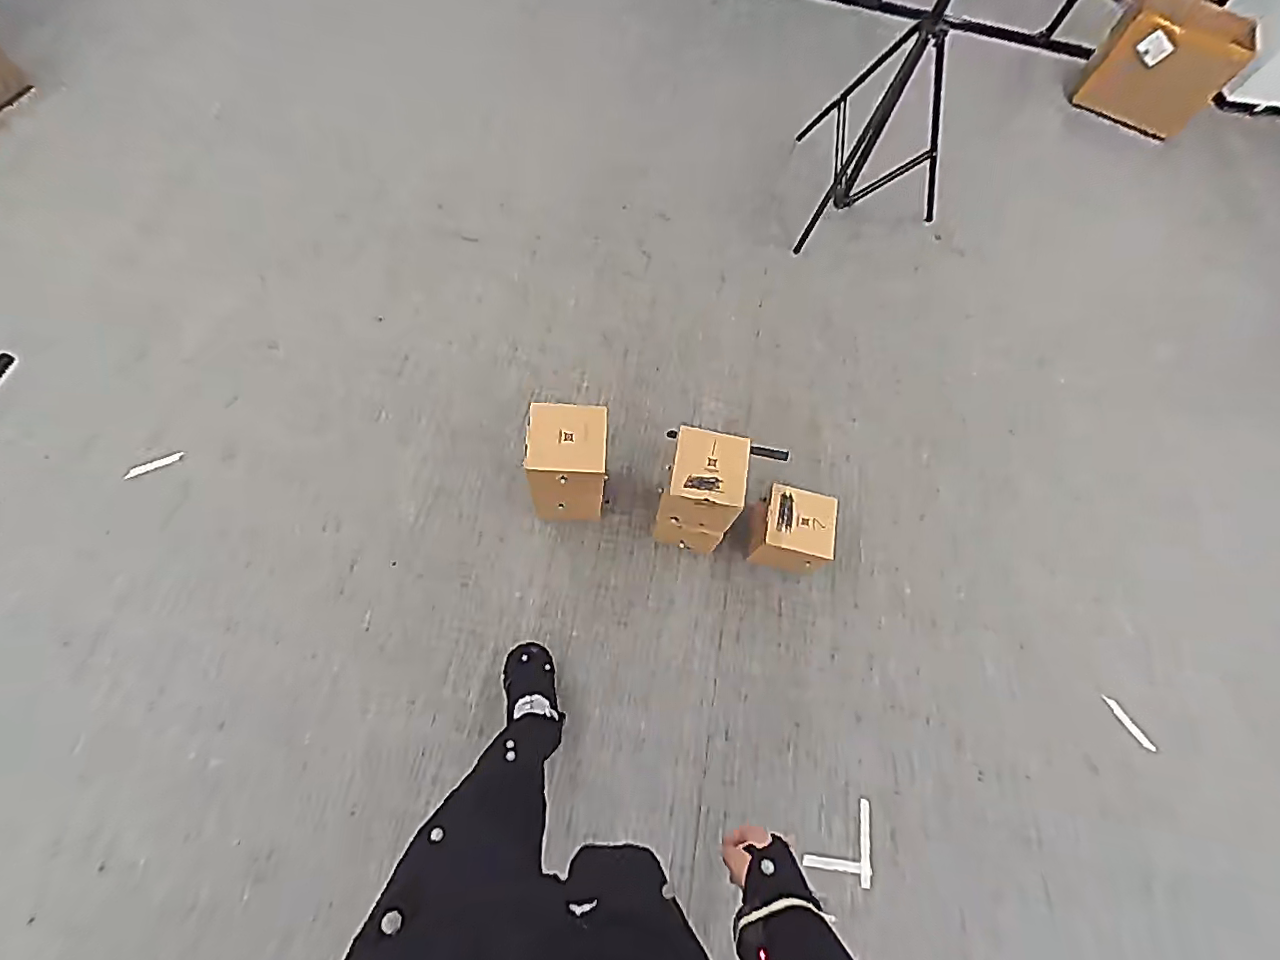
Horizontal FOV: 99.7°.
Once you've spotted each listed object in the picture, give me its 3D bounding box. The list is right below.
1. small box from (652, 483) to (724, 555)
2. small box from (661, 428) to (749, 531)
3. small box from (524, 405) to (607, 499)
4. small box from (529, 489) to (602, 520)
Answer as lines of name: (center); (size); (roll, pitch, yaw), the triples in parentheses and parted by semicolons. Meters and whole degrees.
small box: (0.133, 0.079, 1.415); (0.168, 0.176, 0.179); (14, 67, 1)
small box: (0.147, 0.006, 1.267); (0.168, 0.176, 0.179); (12, 66, -1)
small box: (-0.169, -0.060, 1.264); (0.179, 0.176, 0.168); (3, 68, -6)
small box: (-0.188, 0.003, 1.413); (0.179, 0.176, 0.168); (0, 68, -5)
